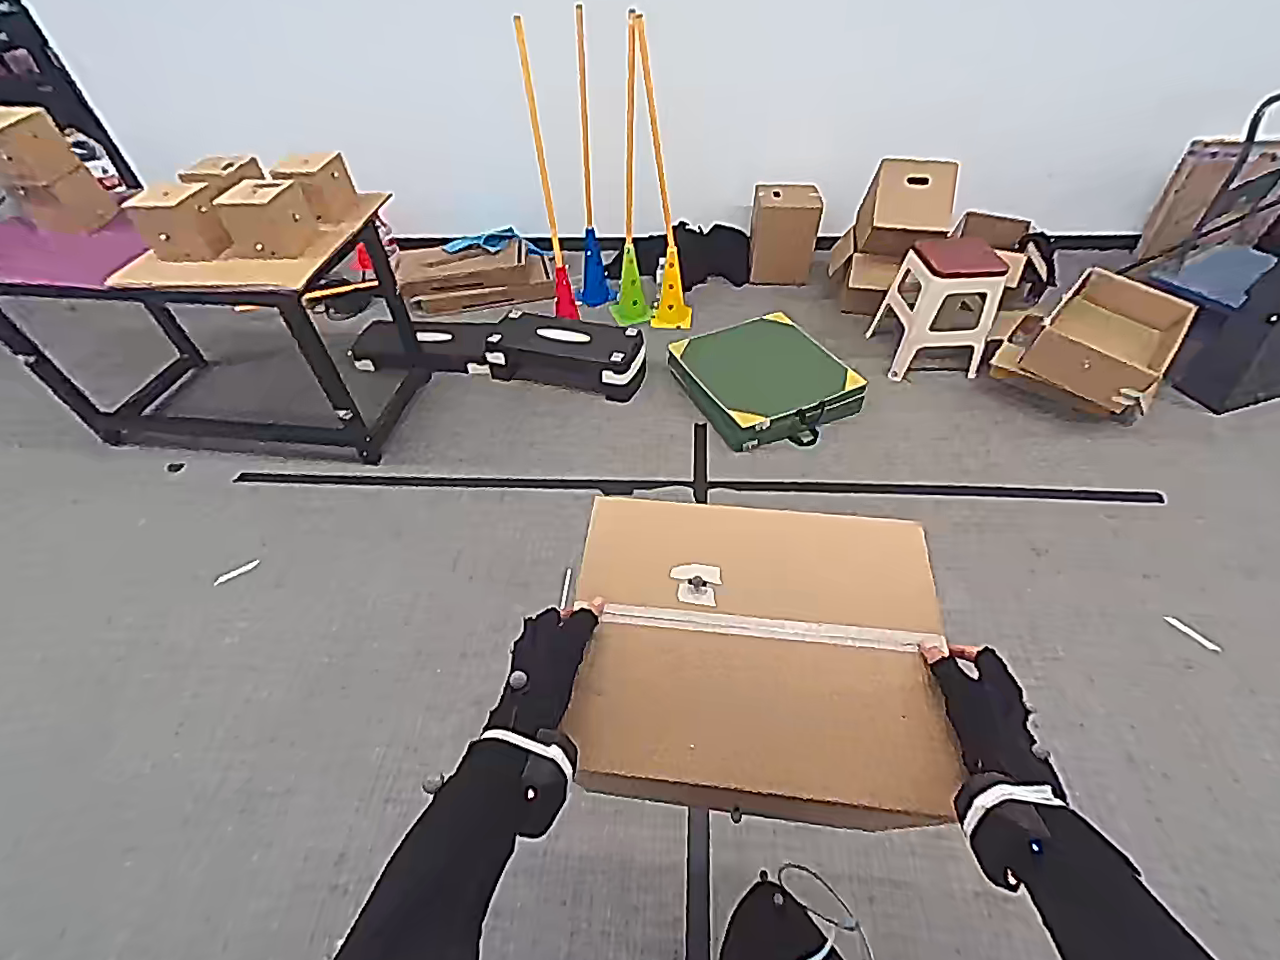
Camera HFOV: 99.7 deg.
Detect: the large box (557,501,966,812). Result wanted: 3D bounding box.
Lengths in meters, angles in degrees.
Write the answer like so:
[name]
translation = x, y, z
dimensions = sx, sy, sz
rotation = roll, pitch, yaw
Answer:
[large box]
translation = 0.137, 0.247, 0.732
dimensions = 0.408, 0.320, 0.320
rotation = 4, 55, 6
